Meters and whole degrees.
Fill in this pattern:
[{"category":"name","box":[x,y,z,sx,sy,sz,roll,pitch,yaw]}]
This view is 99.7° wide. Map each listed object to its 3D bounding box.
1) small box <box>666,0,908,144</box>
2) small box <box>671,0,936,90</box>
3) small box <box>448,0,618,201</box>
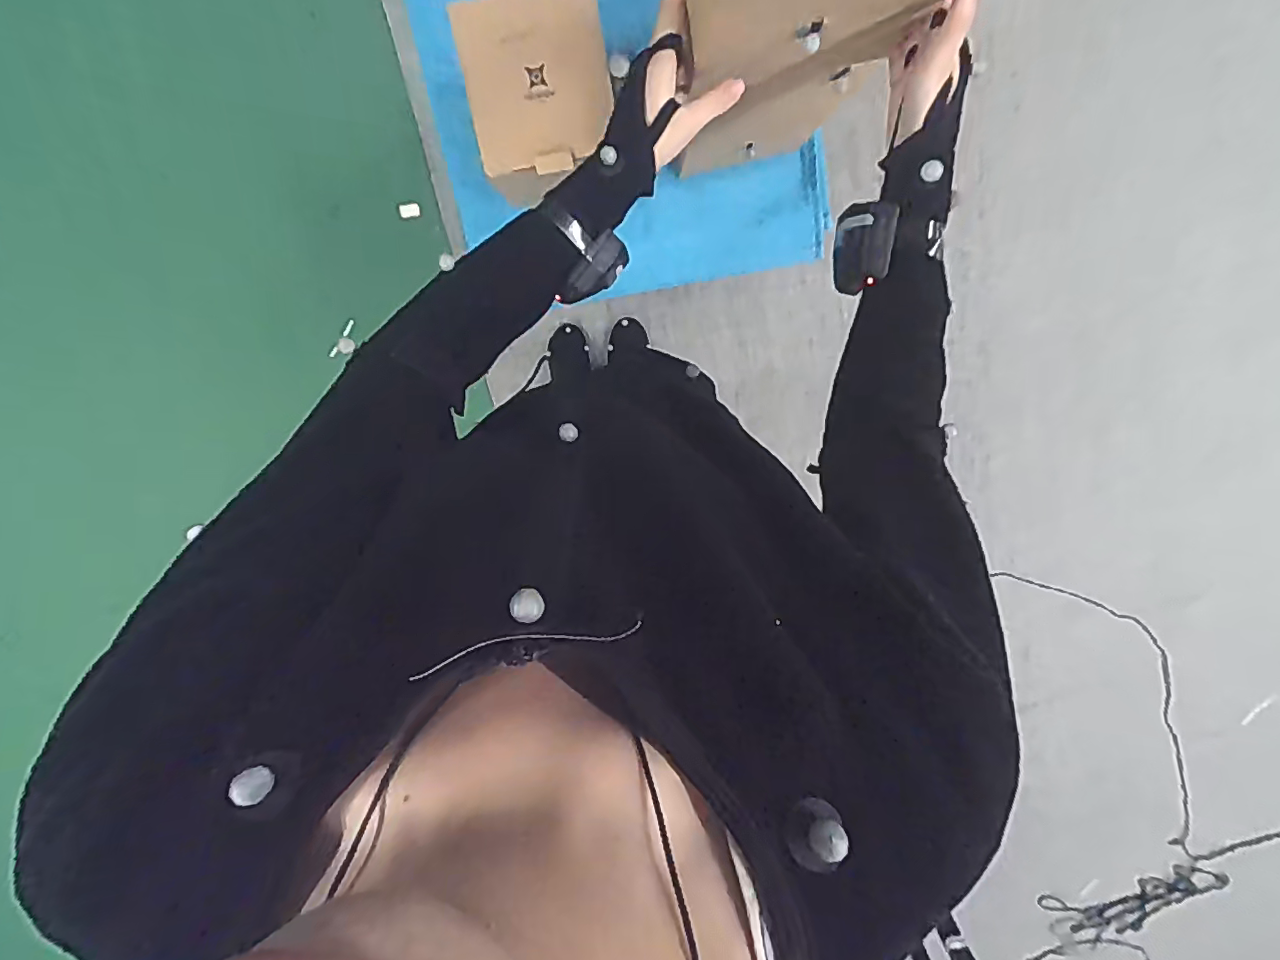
[{"category":"small box","box":[0.128,-0.456,0.522,0.179,0.176,0.168,-12,105,3]},{"category":"small box","box":[0.111,-0.395,0.360,0.179,0.176,0.168,-9,108,3]},{"category":"small box","box":[-0.120,-0.470,0.685,0.168,0.176,0.179,-9,105,0]}]
